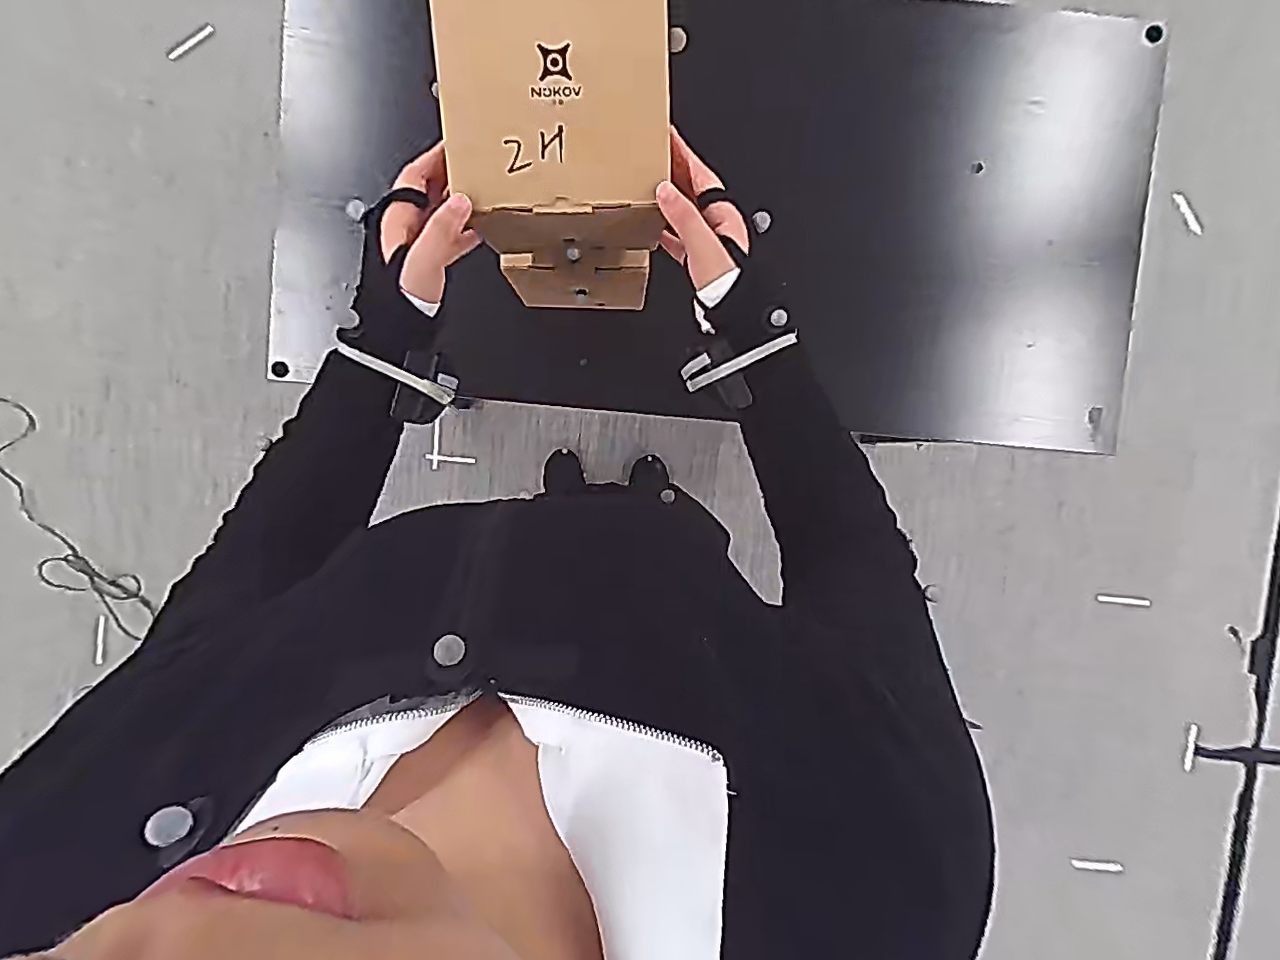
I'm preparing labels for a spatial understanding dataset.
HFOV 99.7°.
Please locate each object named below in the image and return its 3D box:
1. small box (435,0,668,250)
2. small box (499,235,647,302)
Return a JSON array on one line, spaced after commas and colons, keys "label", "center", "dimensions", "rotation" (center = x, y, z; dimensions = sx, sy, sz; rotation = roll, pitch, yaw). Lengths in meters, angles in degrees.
[{"label": "small box", "center": [-0.065, -0.312, 0.468], "dimensions": [0.168, 0.176, 0.179], "rotation": [-2, 101, -1]}, {"label": "small box", "center": [-0.073, -0.328, 0.671], "dimensions": [0.168, 0.176, 0.179], "rotation": [1, 94, -1]}]
